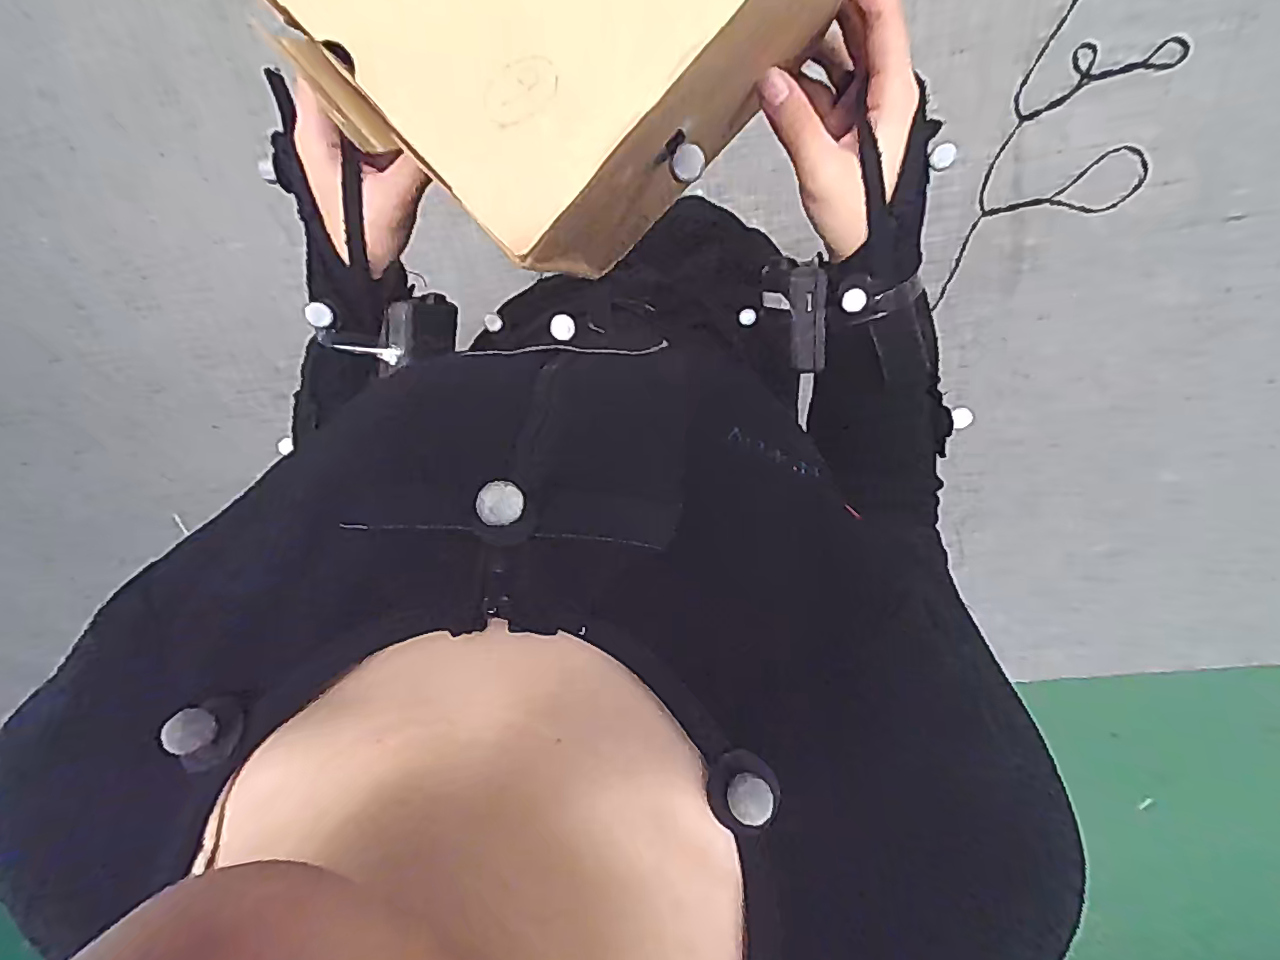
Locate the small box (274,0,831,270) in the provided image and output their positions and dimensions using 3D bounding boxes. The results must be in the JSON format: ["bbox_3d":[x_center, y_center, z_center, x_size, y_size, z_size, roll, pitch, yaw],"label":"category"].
[{"bbox_3d":[-0.025,-0.215,0.241,0.179,0.176,0.168,-42,100,17],"label":"small box"}]
